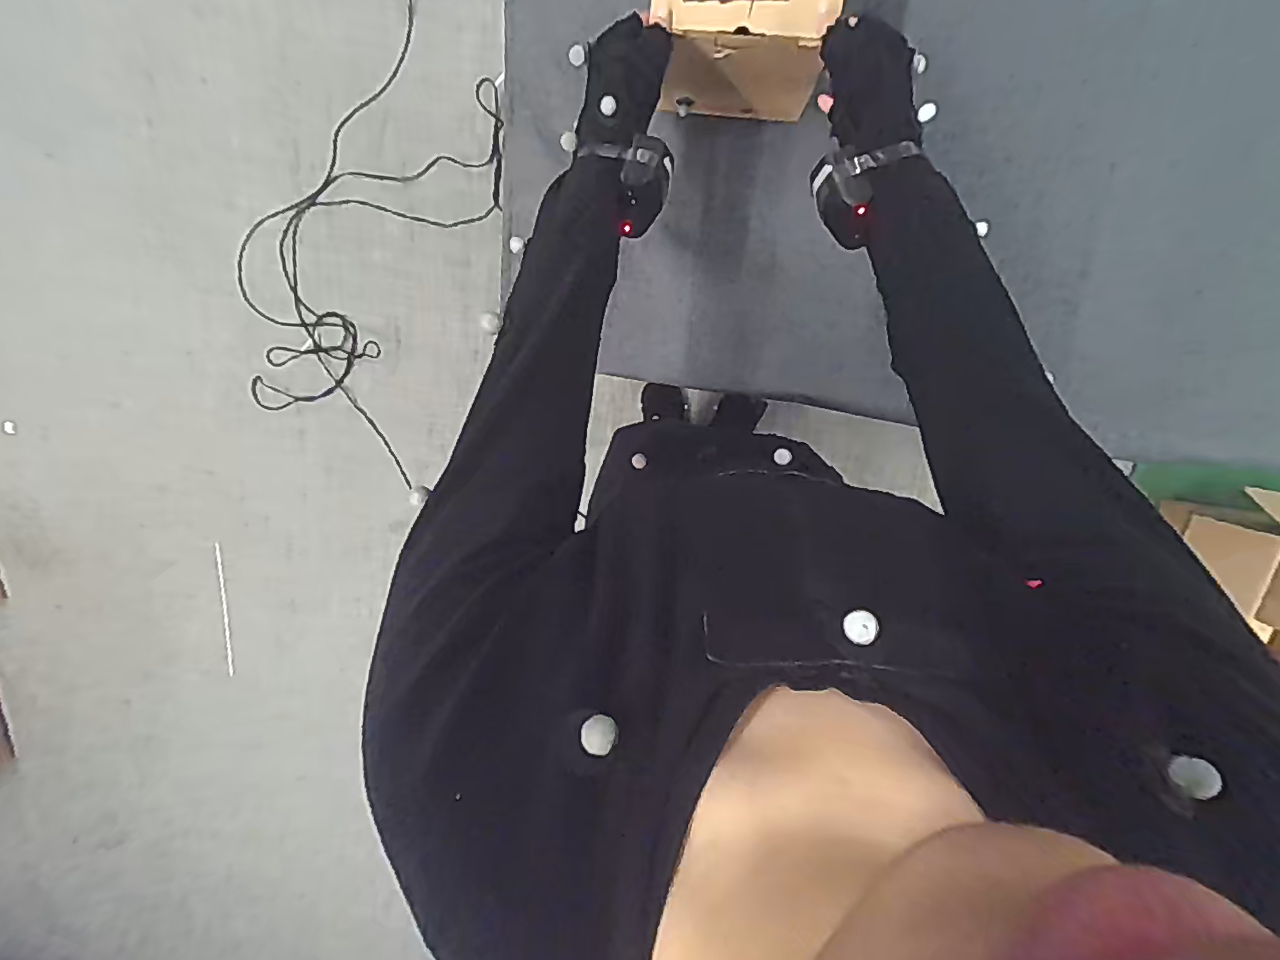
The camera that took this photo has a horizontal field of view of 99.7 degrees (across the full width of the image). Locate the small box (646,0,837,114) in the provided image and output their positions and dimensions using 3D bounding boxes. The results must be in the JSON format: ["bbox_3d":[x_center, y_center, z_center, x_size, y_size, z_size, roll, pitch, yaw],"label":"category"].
[{"bbox_3d":[0.103,-0.491,0.530,0.168,0.176,0.179,7,104,3],"label":"small box"}]
